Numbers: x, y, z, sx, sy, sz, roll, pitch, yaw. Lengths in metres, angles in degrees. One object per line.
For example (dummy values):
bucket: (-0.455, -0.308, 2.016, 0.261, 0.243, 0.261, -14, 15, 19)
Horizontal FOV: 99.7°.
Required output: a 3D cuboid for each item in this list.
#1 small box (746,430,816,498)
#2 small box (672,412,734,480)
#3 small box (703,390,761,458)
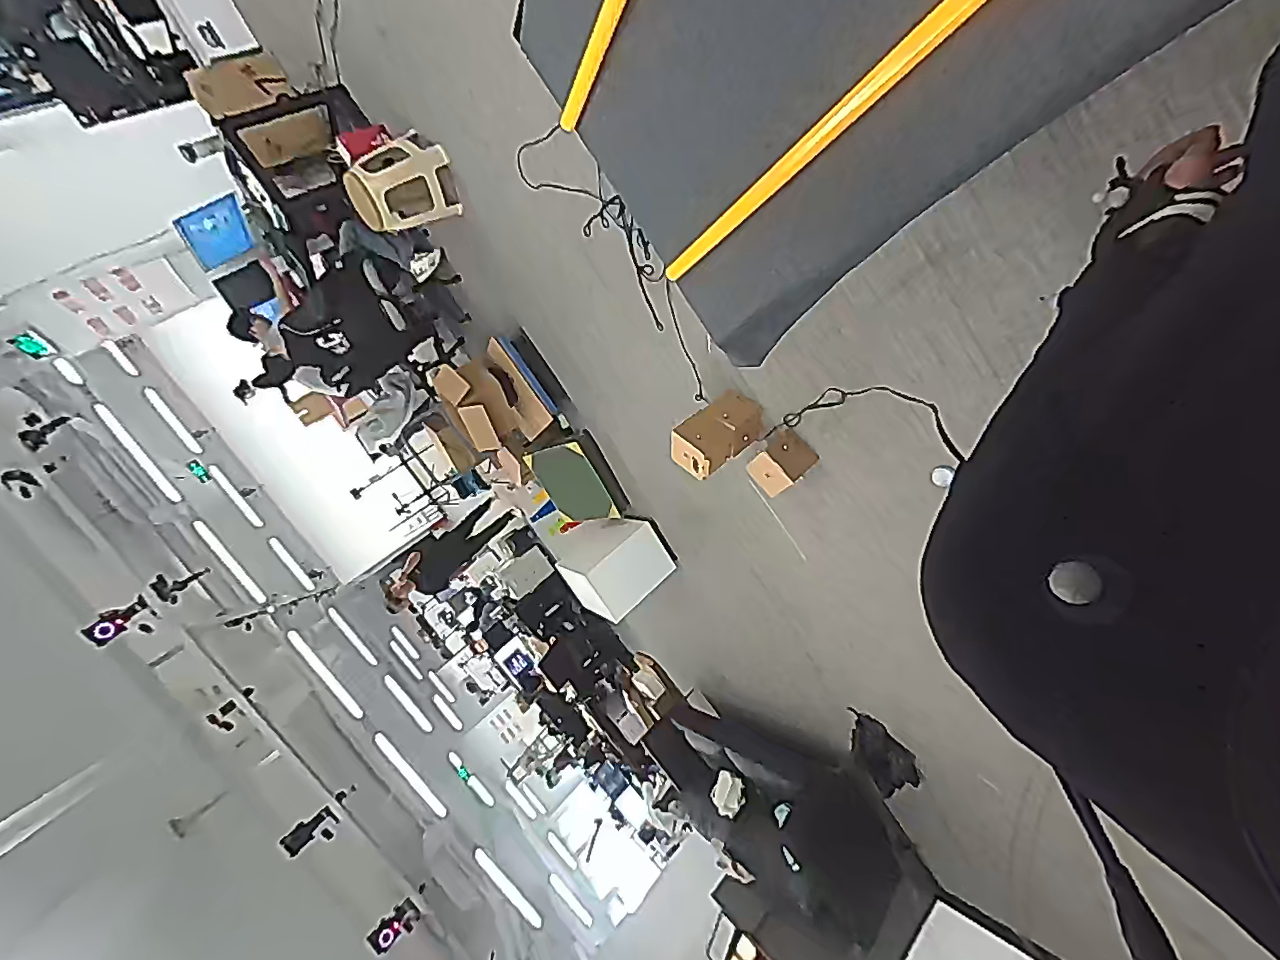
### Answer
small box: (0.549, -0.066, 2.090, 0.168, 0.176, 0.179, 49, 157, 7)
small box: (0.245, -0.138, 2.112, 0.179, 0.176, 0.168, 39, 152, 28)
small box: (0.371, -0.228, 2.171, 0.168, 0.176, 0.179, 36, 151, 32)
